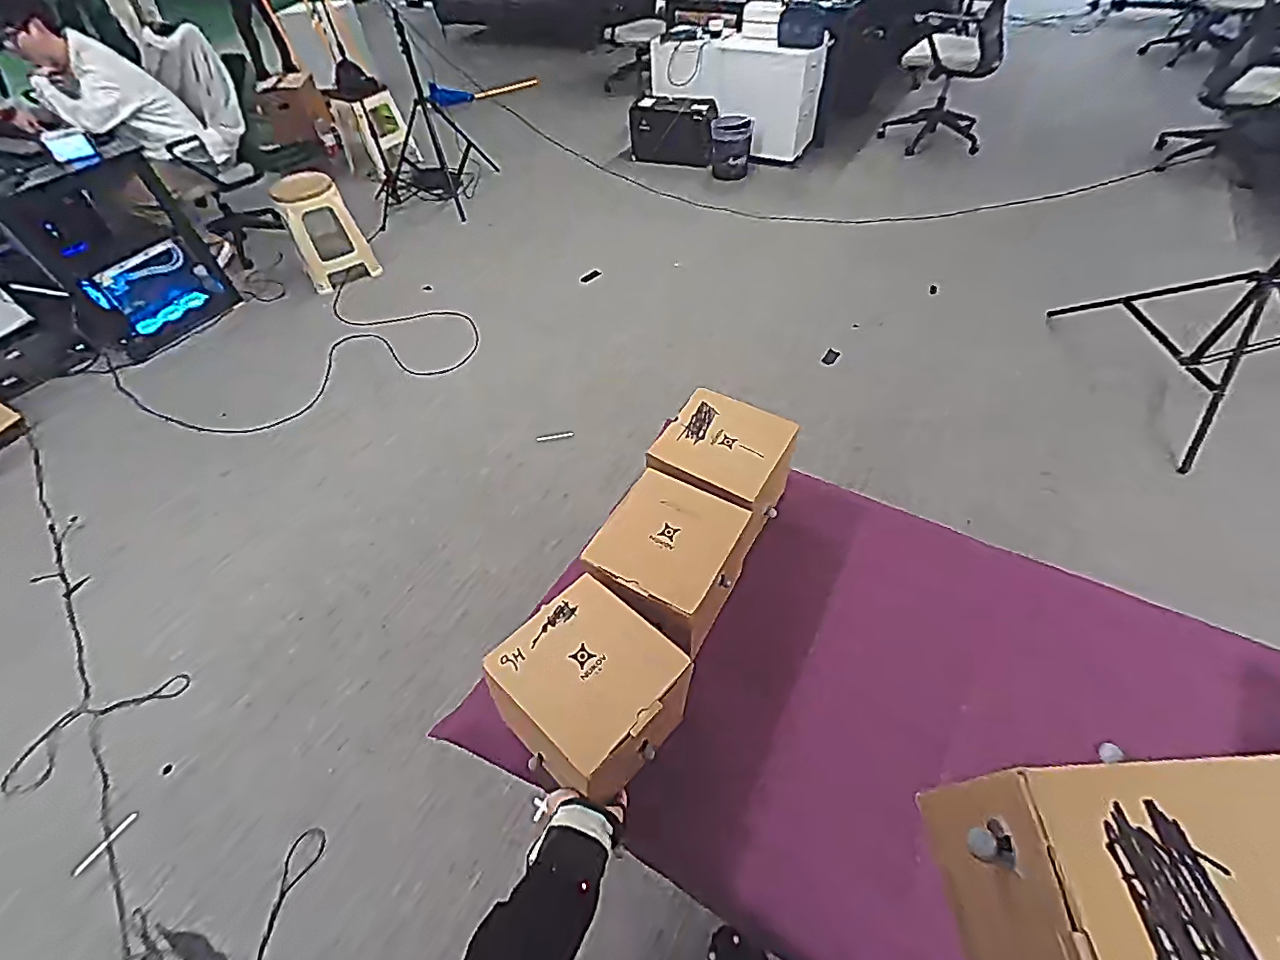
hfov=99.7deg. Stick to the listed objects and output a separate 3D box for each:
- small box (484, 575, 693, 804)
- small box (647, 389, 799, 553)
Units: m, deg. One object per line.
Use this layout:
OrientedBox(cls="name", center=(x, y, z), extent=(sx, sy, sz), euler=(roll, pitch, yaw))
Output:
OrientedBox(cls="small box", center=(-0.060, 0.257, 0.656), extent=(0.179, 0.176, 0.168), euler=(36, 54, 26))
OrientedBox(cls="small box", center=(0.128, -0.011, 0.867), extent=(0.179, 0.176, 0.168), euler=(26, 59, 21))
